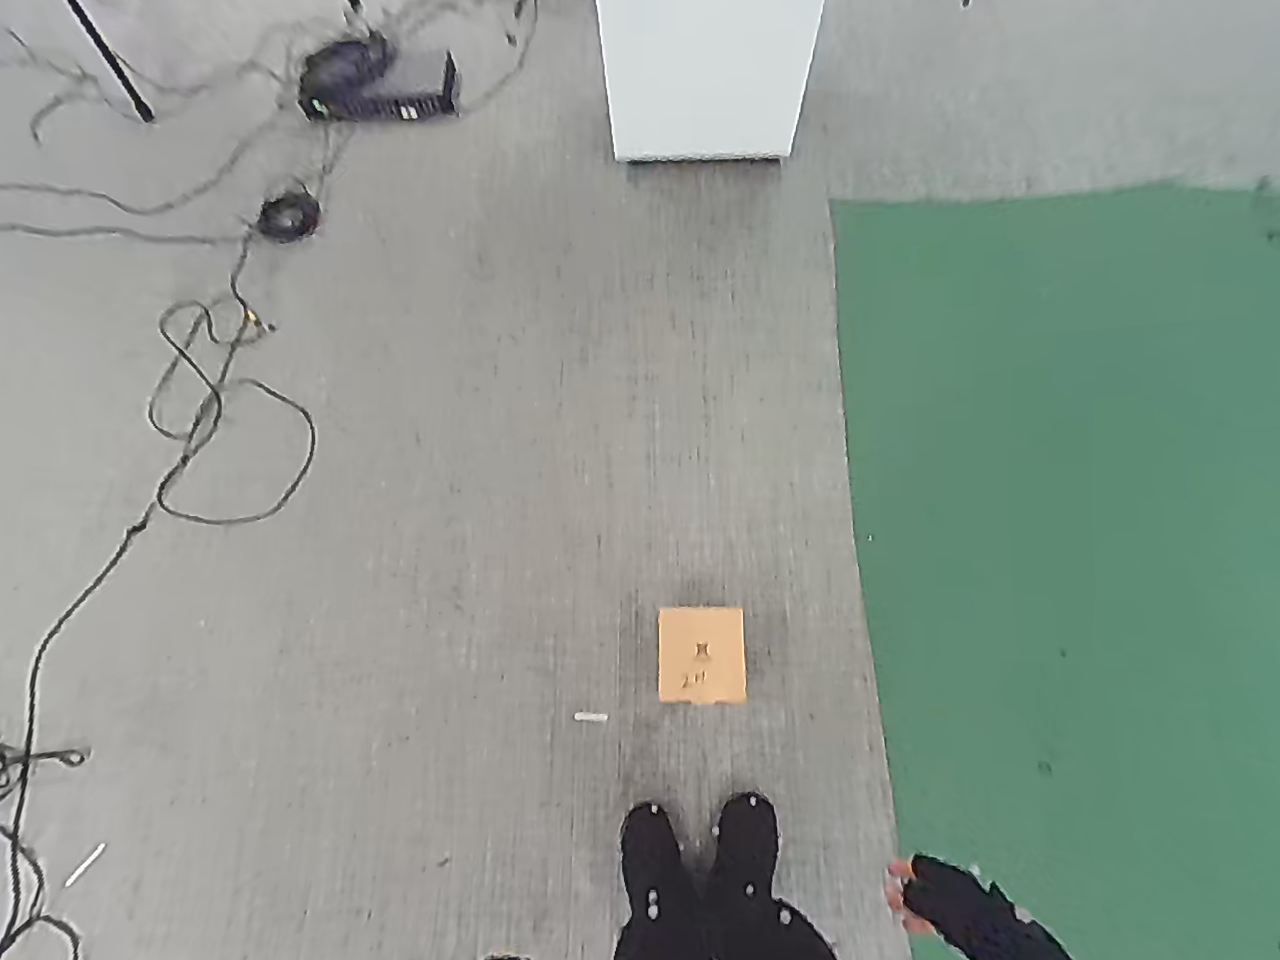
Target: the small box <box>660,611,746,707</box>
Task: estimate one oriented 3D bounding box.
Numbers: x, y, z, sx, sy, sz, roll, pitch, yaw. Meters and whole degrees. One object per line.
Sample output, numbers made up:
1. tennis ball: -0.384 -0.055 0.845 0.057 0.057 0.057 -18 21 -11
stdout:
1. small box: 0.126 0.372 1.127 0.168 0.176 0.179 0 72 4
